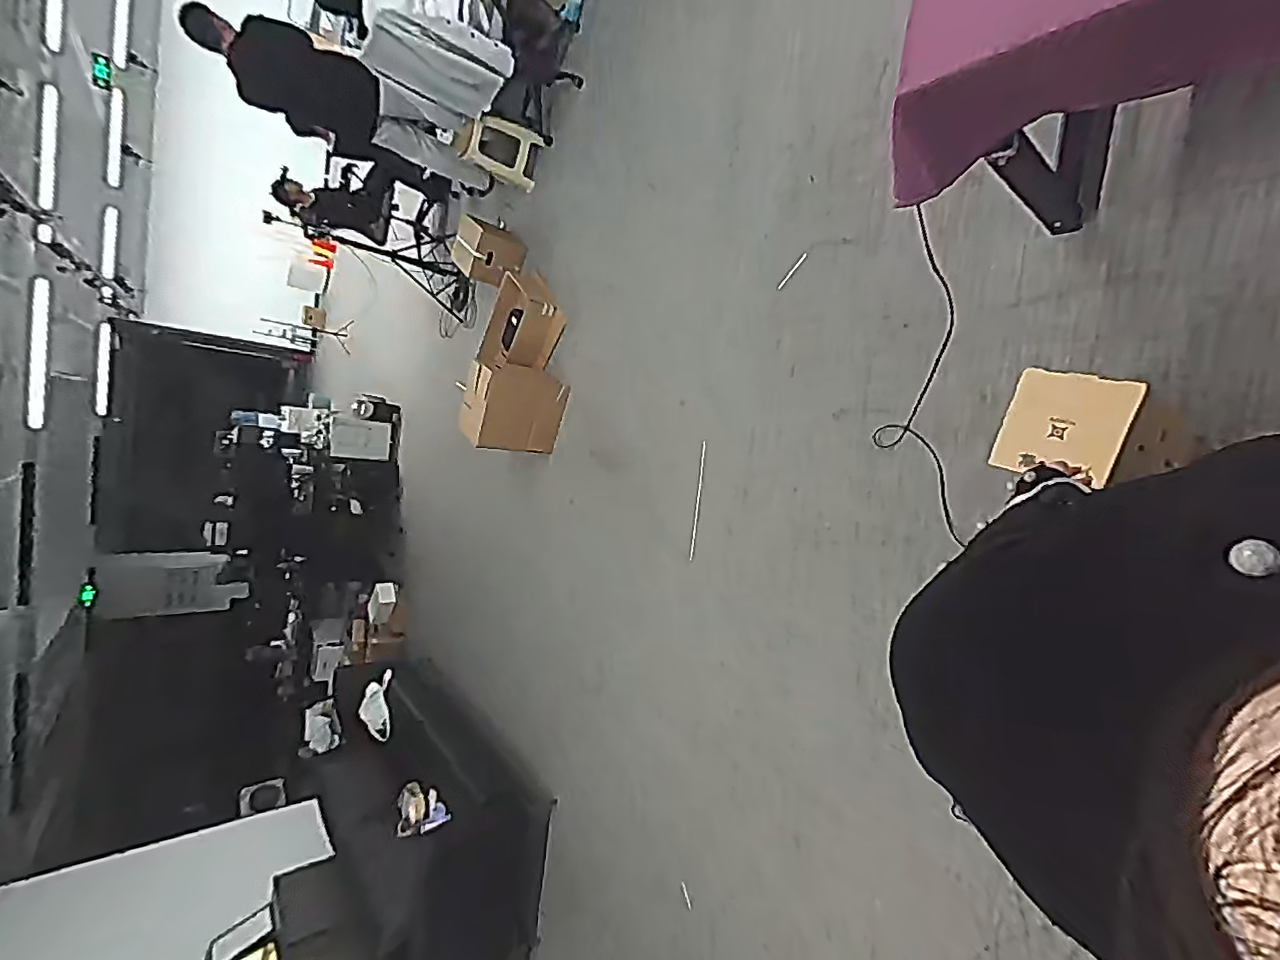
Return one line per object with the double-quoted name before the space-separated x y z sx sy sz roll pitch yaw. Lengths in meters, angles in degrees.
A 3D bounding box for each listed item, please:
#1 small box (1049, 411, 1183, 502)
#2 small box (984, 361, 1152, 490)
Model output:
"small box" 0.998 -0.053 1.132 0.168 0.176 0.179 18 100 49
"small box" 0.739 -0.091 0.931 0.168 0.176 0.179 28 108 48
